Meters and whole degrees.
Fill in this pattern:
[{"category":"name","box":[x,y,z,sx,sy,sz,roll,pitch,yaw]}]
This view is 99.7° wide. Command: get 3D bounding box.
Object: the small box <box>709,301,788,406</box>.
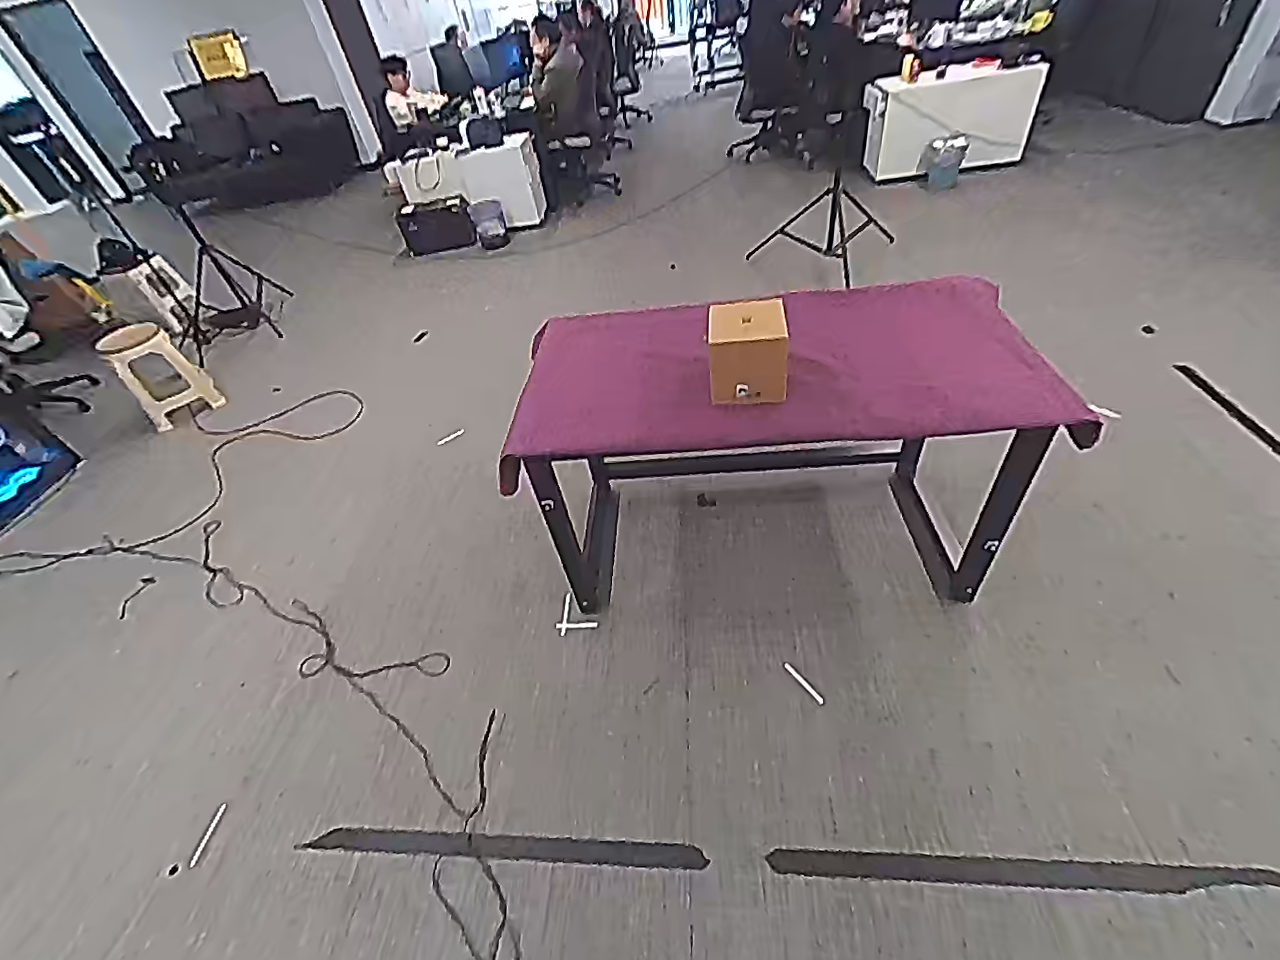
[{"category":"small box","box":[0.245,-0.288,1.237,0.168,0.176,0.179,-2,44,10]}]
